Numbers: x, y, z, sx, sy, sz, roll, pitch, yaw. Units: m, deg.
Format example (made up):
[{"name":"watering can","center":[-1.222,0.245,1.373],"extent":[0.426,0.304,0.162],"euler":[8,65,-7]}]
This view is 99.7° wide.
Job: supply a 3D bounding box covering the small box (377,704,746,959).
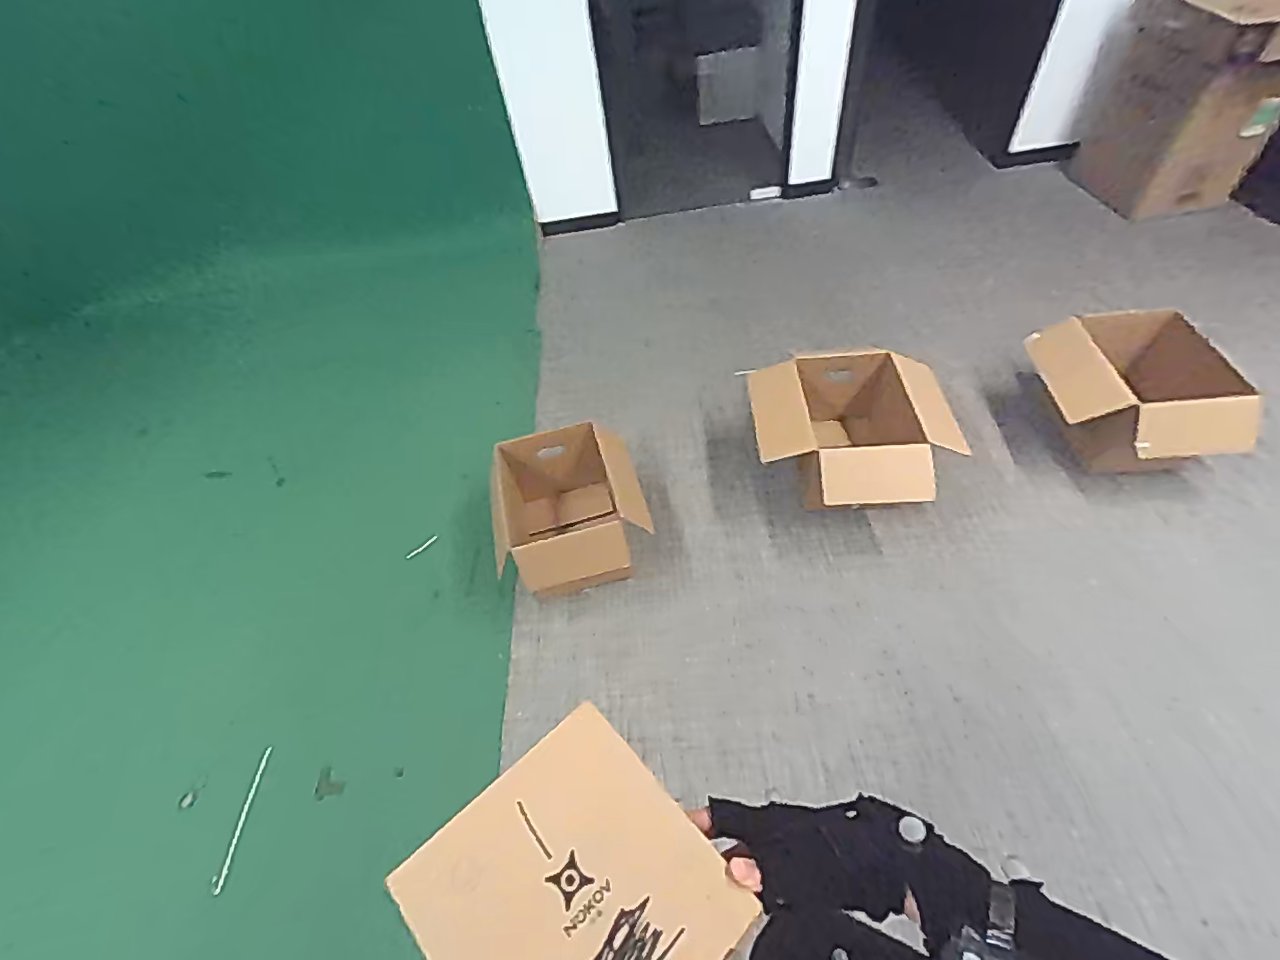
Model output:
[{"name":"small box","center":[-0.055,0.308,0.399],"extent":[0.168,0.176,0.179],"euler":[-34,62,-29]}]
